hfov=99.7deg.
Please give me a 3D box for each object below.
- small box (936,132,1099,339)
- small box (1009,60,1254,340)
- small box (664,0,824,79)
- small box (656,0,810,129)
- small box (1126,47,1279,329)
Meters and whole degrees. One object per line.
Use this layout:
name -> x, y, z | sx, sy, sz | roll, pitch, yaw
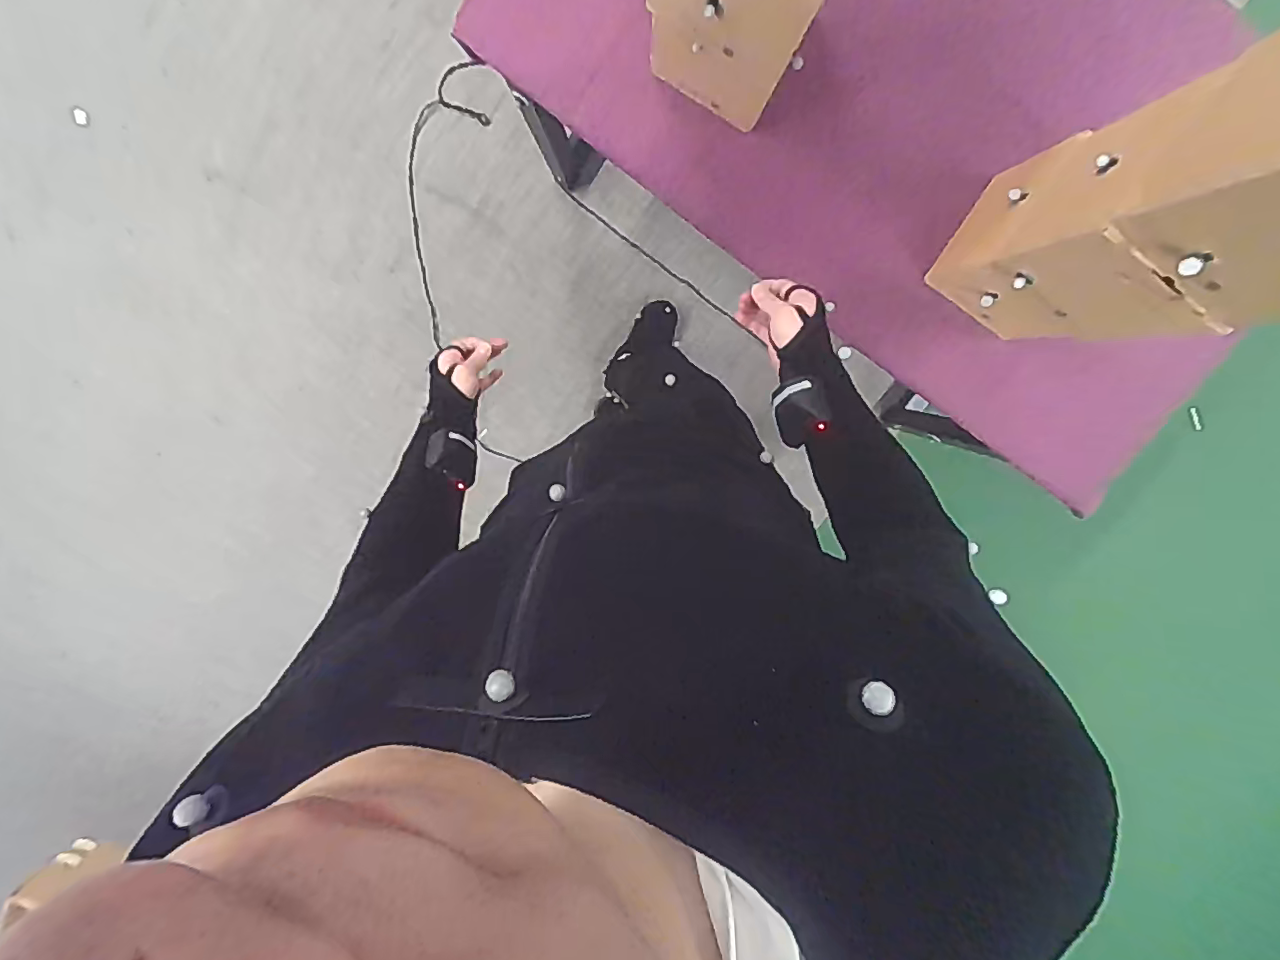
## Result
small box -> 0.537, -0.305, 0.723 | 0.168, 0.176, 0.179 | 32, 99, -7
small box -> 0.536, -0.262, 0.564 | 0.168, 0.176, 0.179 | 34, 98, -8
small box -> 0.121, -0.526, 0.496 | 0.168, 0.176, 0.179 | 29, 101, -8
small box -> 0.127, -0.579, 0.653 | 0.168, 0.176, 0.179 | 28, 101, -7
small box -> 0.540, -0.234, 0.403 | 0.168, 0.176, 0.179 | 35, 99, -7
